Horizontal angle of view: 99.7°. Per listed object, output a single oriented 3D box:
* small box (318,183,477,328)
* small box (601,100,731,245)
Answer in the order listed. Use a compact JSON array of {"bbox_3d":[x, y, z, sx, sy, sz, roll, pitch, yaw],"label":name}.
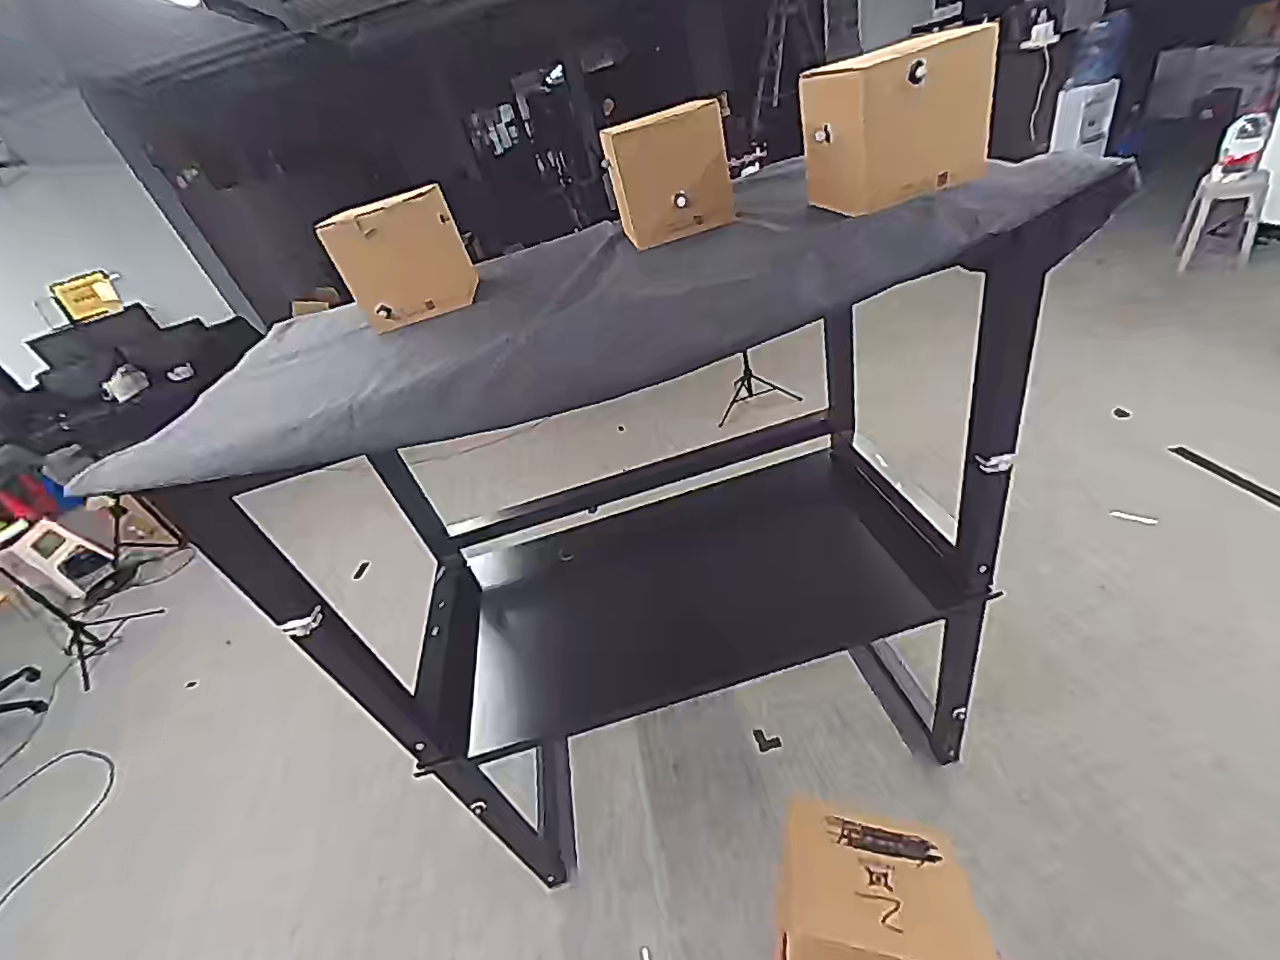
[{"bbox_3d":[-0.384,-0.369,0.897,0.168,0.176,0.179,-17,35,0],"label":"small box"},{"bbox_3d":[0.042,-0.507,0.899,0.168,0.176,0.179,-18,35,1],"label":"small box"}]
